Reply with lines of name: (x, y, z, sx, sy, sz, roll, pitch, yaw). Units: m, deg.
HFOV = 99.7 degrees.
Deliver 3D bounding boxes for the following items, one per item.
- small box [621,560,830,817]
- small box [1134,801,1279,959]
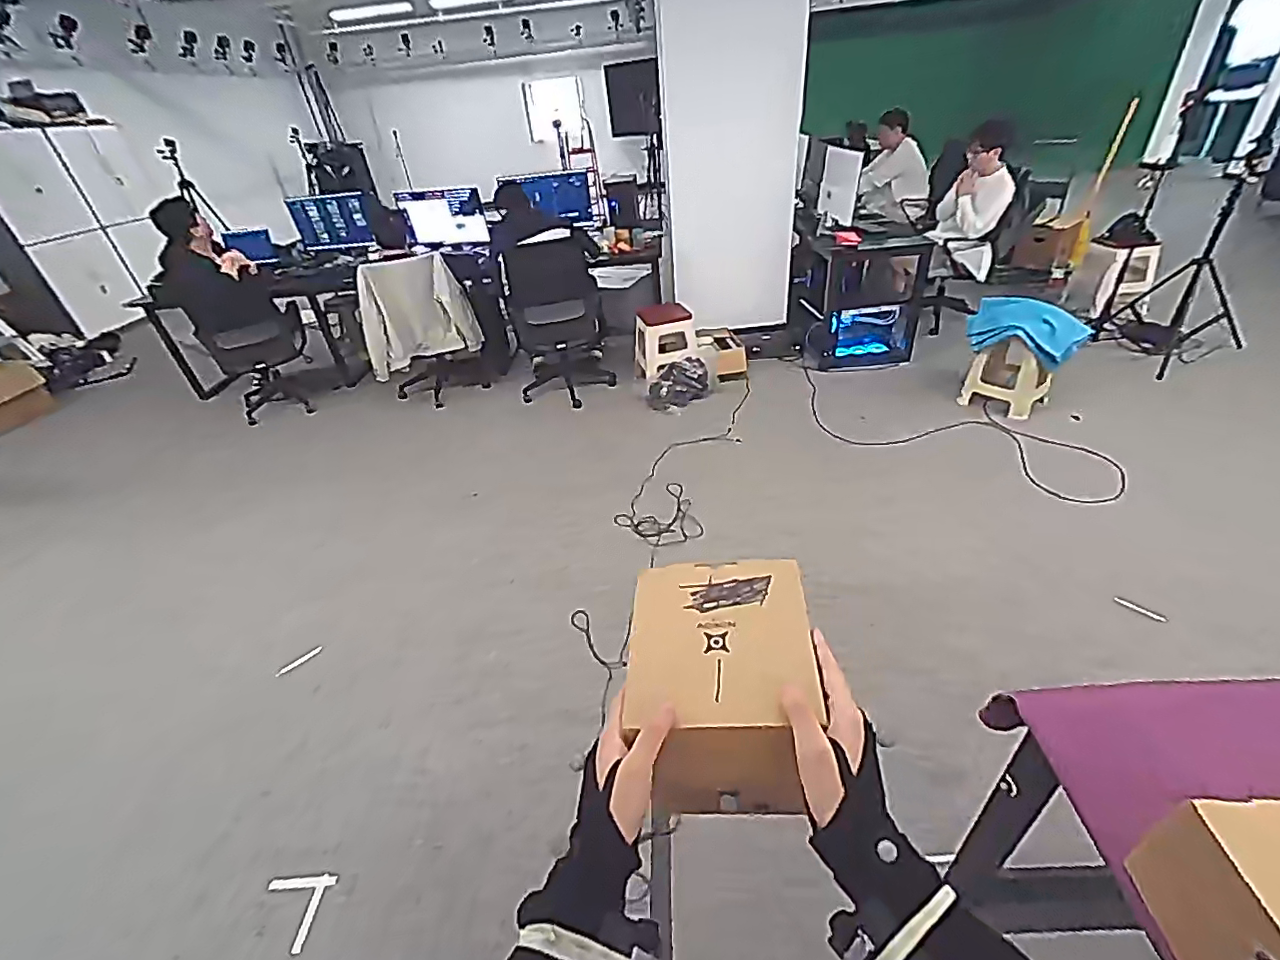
small box: (0.086, 0.203, 0.536, 0.168, 0.176, 0.179, -6, 37, 11)
small box: (0.650, 0.444, 0.524, 0.168, 0.176, 0.179, -1, 35, 7)
